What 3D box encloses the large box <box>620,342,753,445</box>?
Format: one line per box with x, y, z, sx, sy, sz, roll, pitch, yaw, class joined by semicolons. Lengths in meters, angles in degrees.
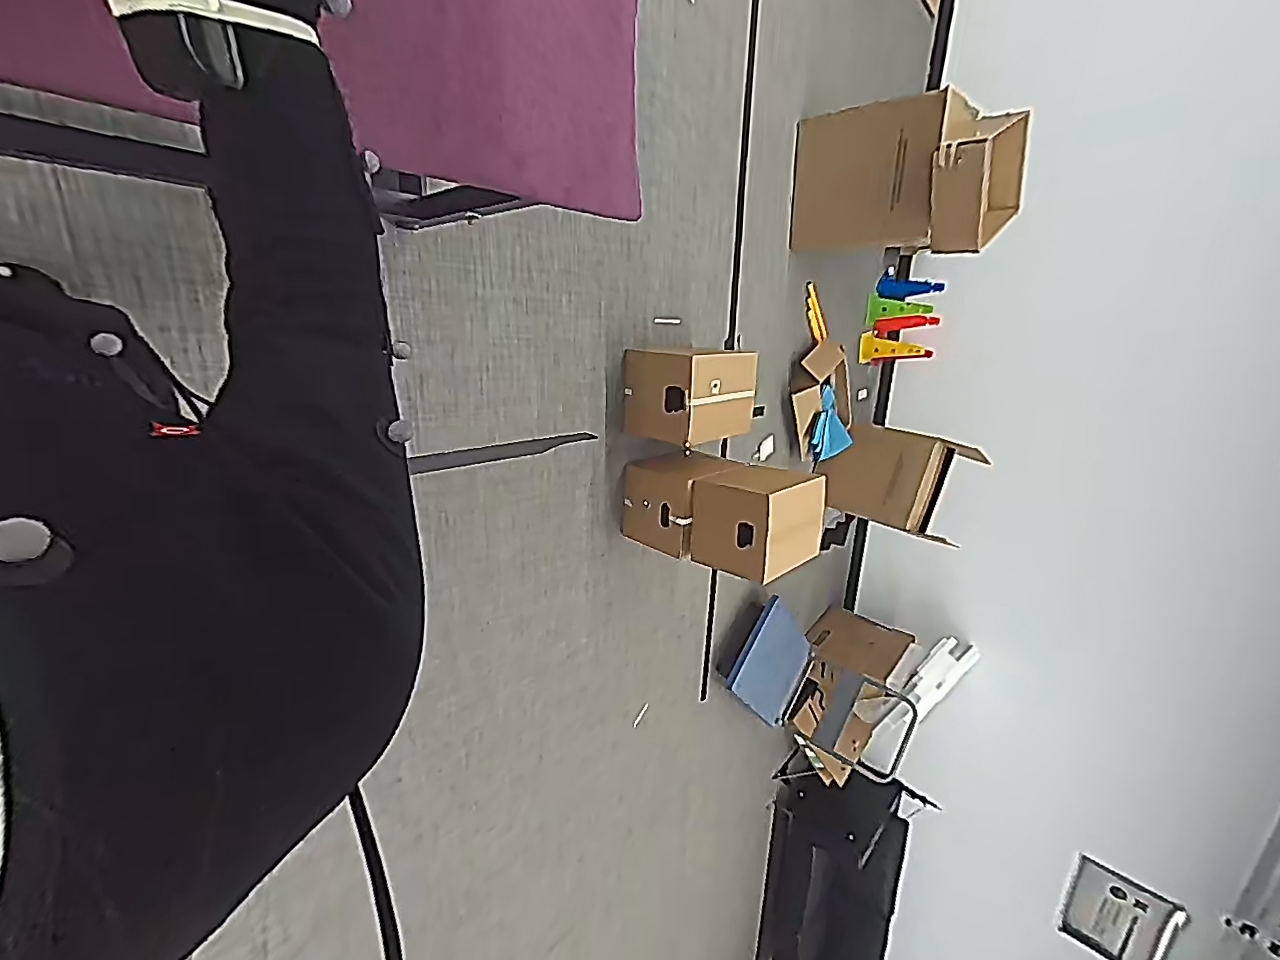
0.173;-0.342;2.029;0.408;0.320;0.320;-16;114;-44;large box
